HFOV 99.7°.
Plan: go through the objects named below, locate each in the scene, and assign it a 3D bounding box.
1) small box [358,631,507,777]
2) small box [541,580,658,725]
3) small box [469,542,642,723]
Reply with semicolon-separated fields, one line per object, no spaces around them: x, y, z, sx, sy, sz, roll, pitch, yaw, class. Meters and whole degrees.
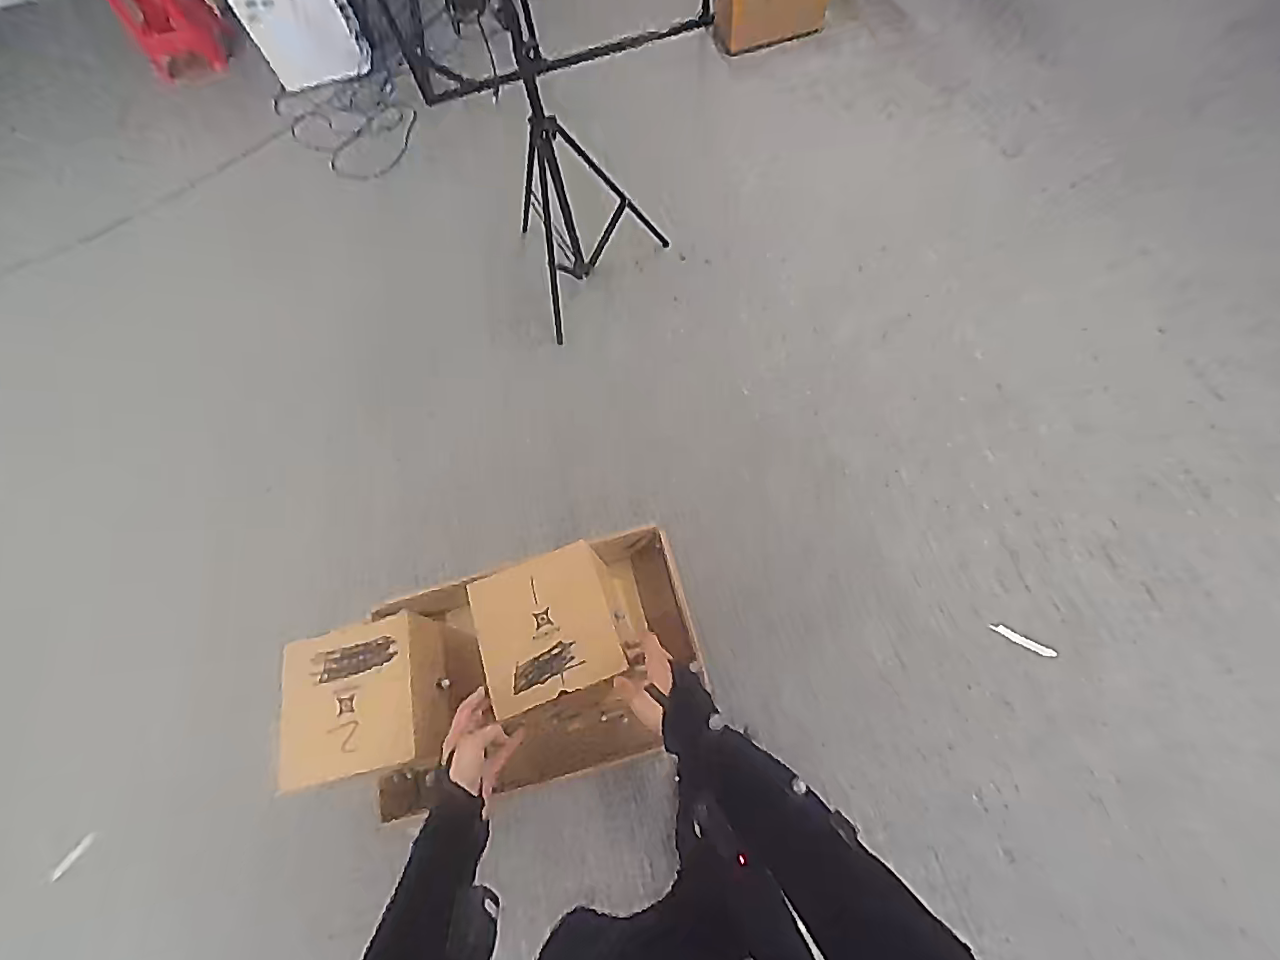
-0.329;0.364;0.875;0.168;0.176;0.179;-16;64;1;small box
-0.076;0.285;0.877;0.168;0.176;0.179;-18;66;-1;small box
-0.106;0.211;0.733;0.168;0.176;0.179;-21;65;-2;small box
